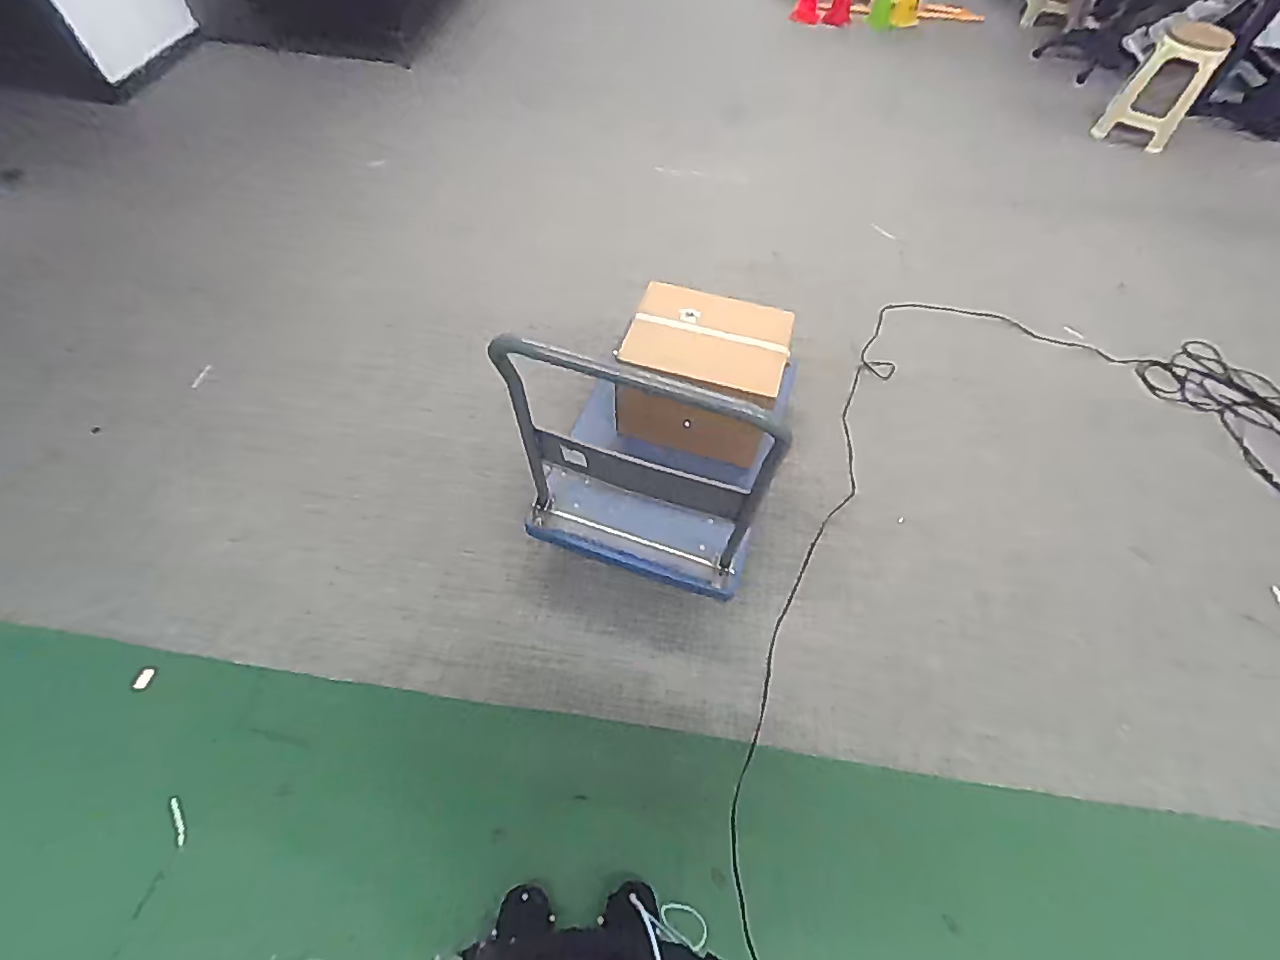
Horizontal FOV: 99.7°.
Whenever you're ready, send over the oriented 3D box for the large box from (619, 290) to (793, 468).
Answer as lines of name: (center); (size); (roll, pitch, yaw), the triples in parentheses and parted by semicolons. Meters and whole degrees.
large box: (0.177, -0.277, 1.517); (0.408, 0.320, 0.320); (15, 58, 8)
